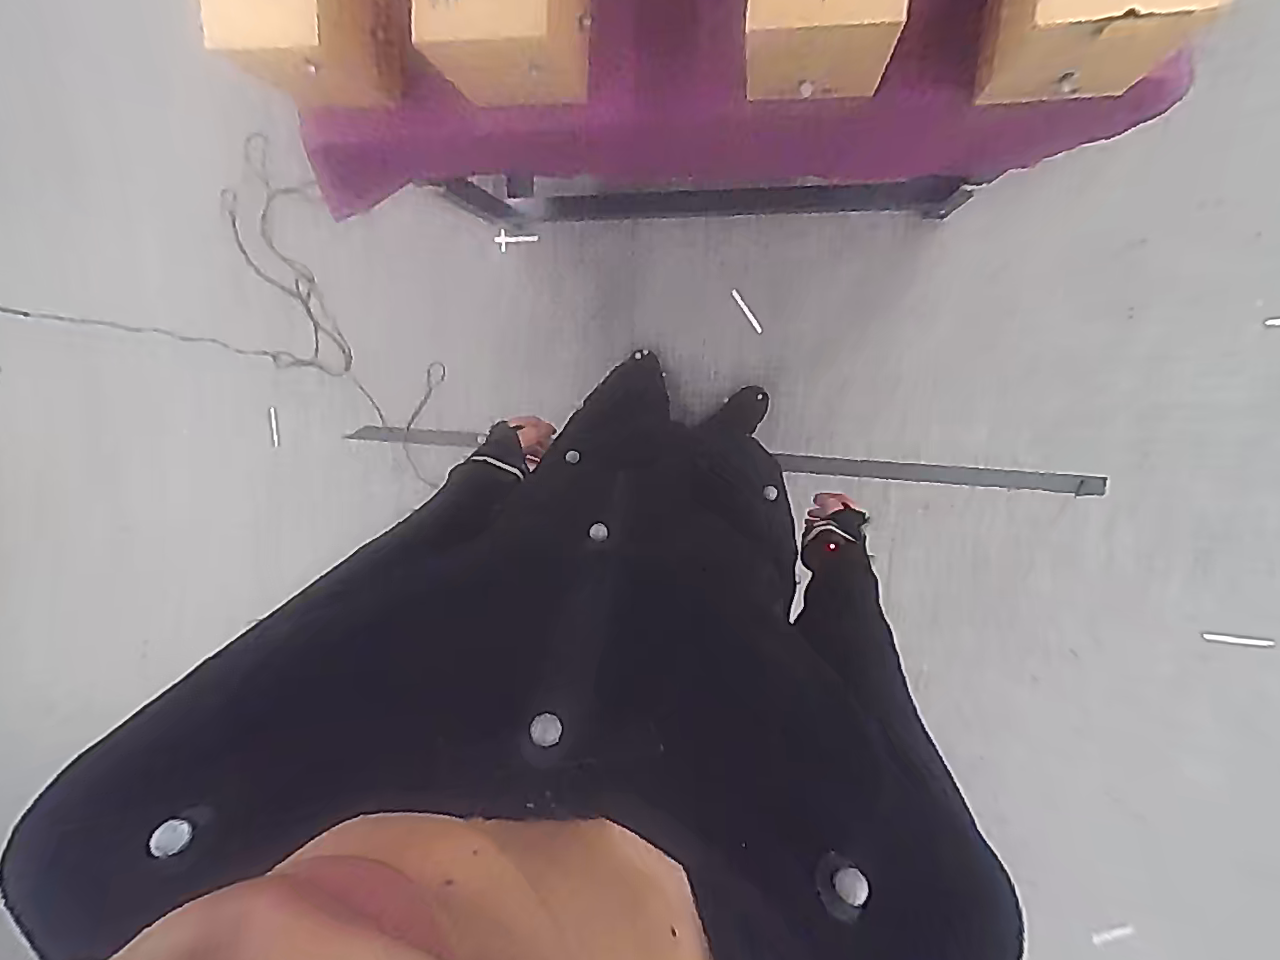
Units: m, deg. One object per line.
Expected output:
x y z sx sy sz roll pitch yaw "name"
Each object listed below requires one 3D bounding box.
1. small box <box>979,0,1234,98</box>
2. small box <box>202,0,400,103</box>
0.488 -0.544 0.572 0.168 0.176 0.179 5 103 12 "small box"
-0.463 -0.653 0.753 0.179 0.176 0.168 6 103 9 "small box"
